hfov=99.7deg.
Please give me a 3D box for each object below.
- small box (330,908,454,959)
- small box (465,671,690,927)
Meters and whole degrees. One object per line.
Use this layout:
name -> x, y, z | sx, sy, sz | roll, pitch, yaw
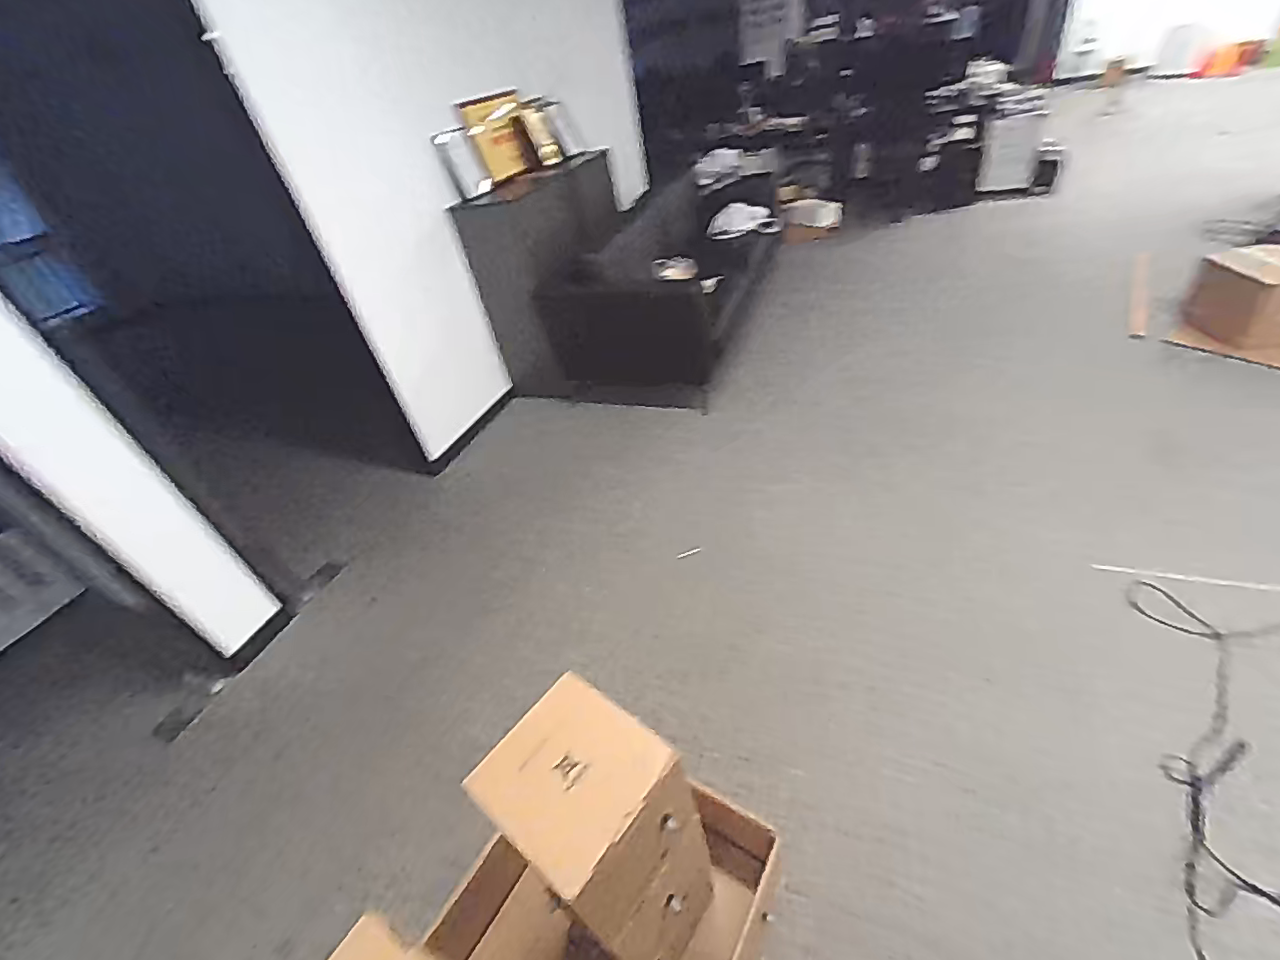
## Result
small box -> -0.215, 0.534, 0.466 | 0.168, 0.176, 0.179 | 13, 44, 30
small box -> -0.061, 0.367, 0.627 | 0.179, 0.176, 0.168 | 20, 48, 37
